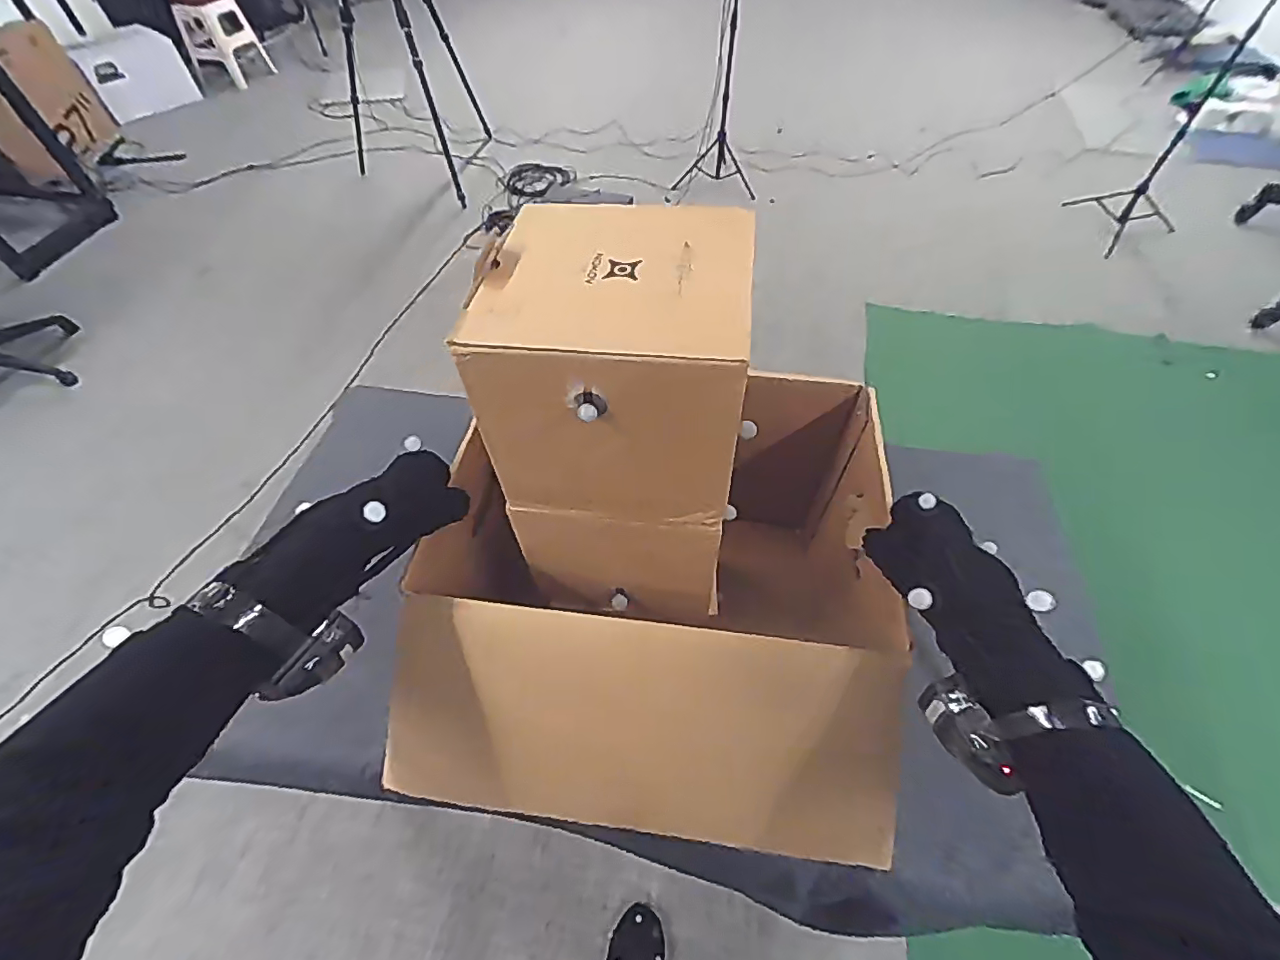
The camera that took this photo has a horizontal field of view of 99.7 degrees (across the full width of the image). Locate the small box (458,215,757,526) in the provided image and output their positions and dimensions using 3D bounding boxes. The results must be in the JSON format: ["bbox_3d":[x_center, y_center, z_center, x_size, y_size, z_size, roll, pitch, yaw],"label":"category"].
[{"bbox_3d":[-0.009,-0.079,0.416,0.179,0.176,0.168,5,54,5],"label":"small box"}]
